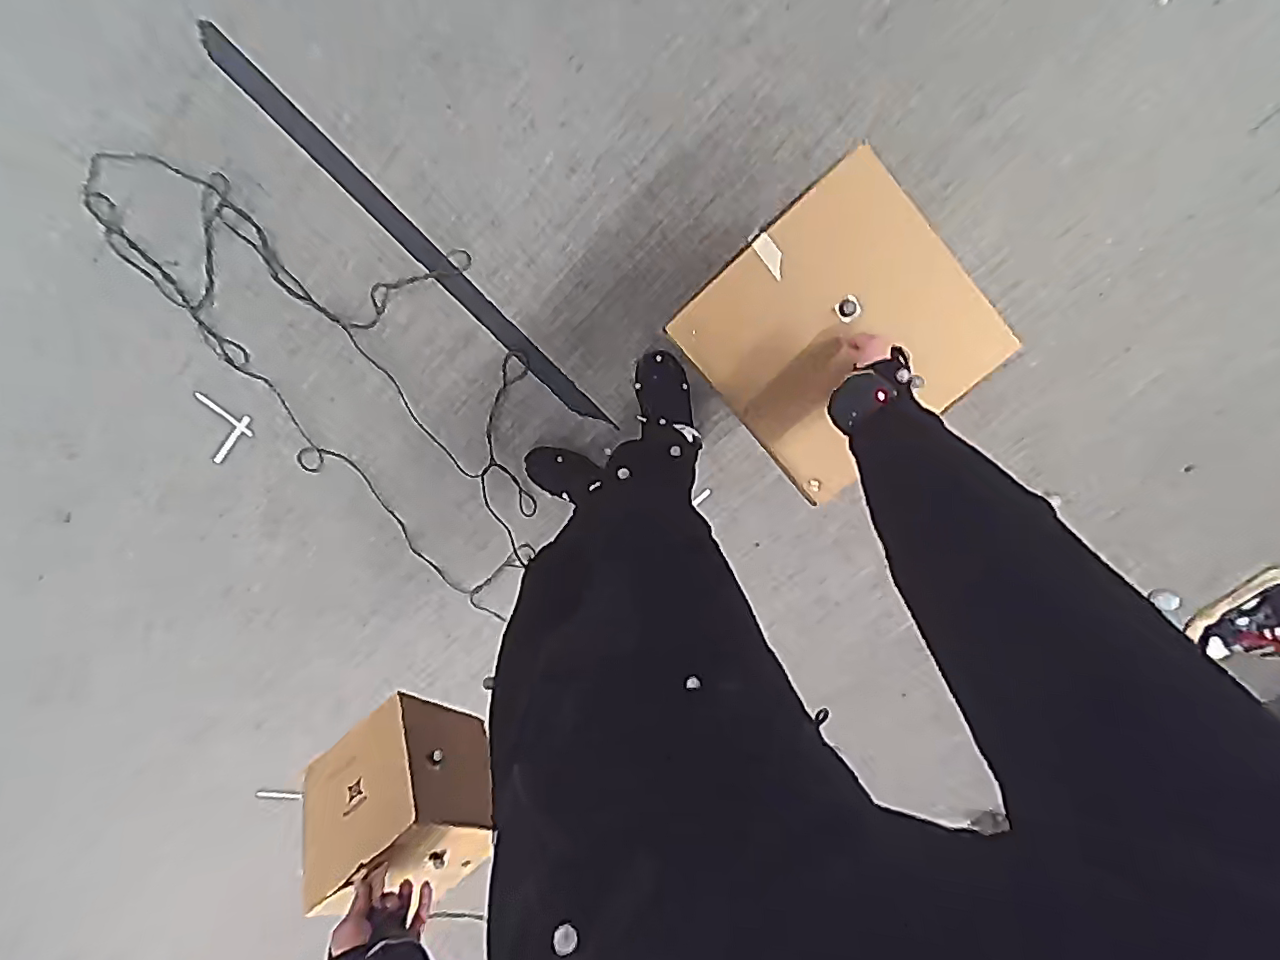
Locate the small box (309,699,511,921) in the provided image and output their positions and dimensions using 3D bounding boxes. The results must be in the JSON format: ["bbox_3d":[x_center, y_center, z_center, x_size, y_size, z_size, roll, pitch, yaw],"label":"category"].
[{"bbox_3d":[-0.293,0.424,0.701,0.168,0.179,0.176,-41,133,1],"label":"small box"}]
